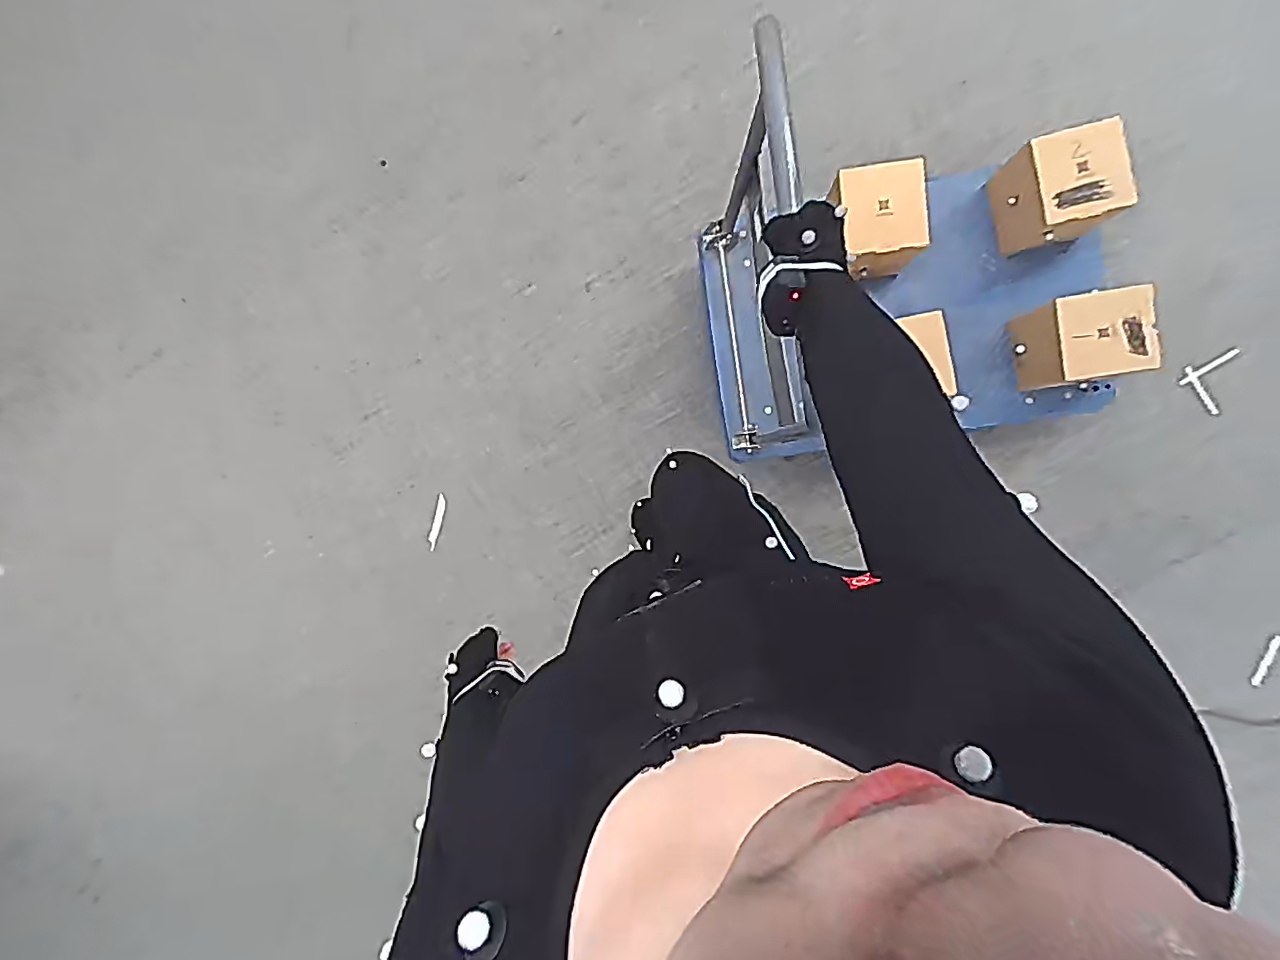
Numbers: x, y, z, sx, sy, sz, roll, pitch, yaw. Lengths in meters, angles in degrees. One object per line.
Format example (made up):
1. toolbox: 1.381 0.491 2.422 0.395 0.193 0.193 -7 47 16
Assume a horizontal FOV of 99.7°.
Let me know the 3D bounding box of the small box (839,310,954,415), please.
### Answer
1. small box: 0.545 -0.246 1.172 0.168 0.176 0.179 -10 91 6

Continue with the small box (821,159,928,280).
1. small box: 0.497 -0.552 1.167 0.168 0.176 0.179 -5 93 5

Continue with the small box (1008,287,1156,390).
1. small box: 0.916 -0.288 1.135 0.179 0.176 0.168 -7 91 7
